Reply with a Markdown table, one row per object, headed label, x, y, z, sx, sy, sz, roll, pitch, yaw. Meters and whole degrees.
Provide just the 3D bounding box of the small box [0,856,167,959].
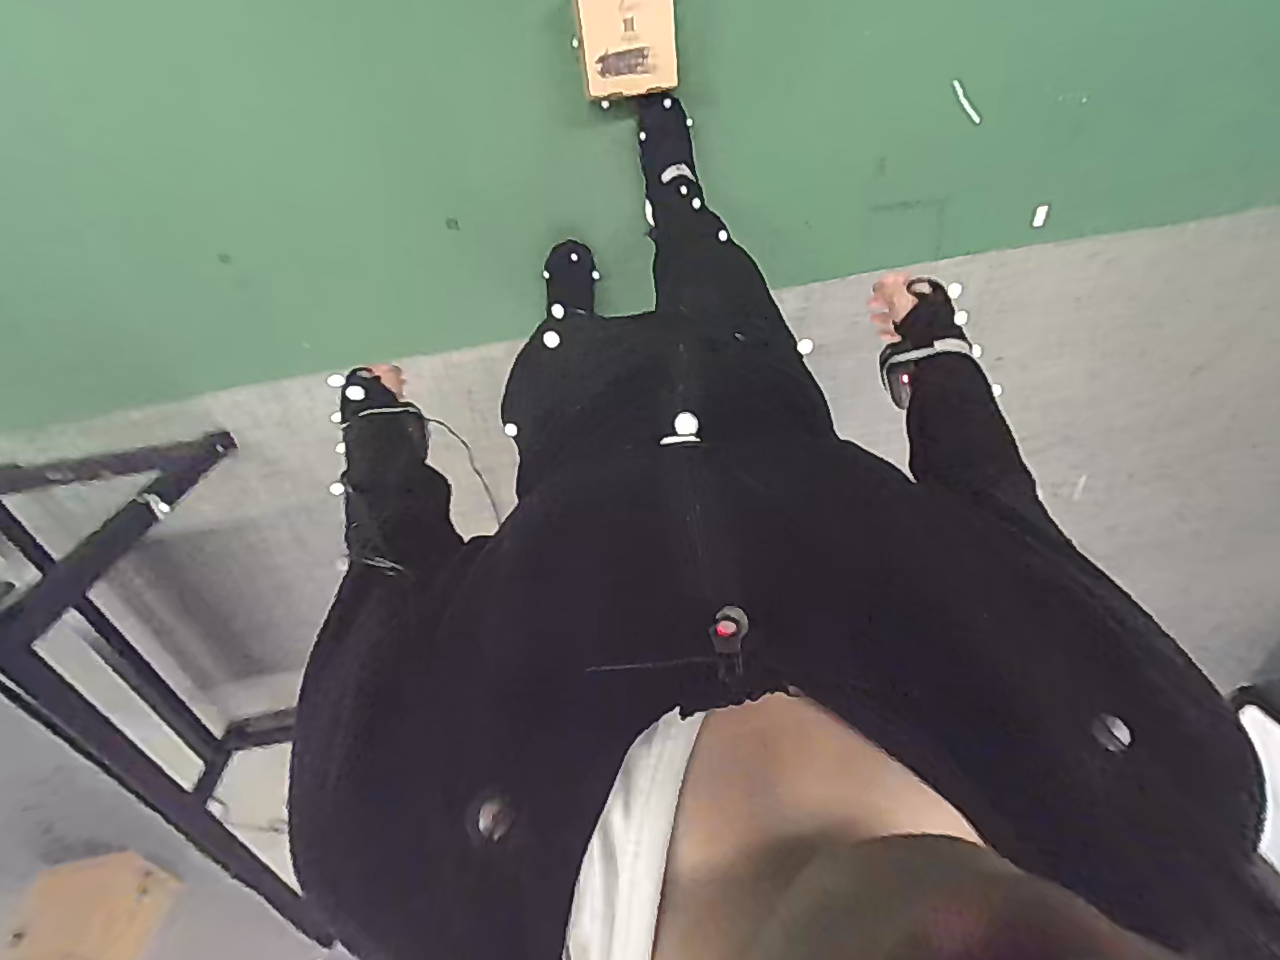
| label | x | y | z | sx | sy | sz | roll | pitch | yaw |
| --- | --- | --- | --- | --- | --- | --- | --- | --- | --- |
| small box | -1.069 | 0.850 | 1.021 | 0.179 | 0.176 | 0.168 | -10 | 123 | -2 |
